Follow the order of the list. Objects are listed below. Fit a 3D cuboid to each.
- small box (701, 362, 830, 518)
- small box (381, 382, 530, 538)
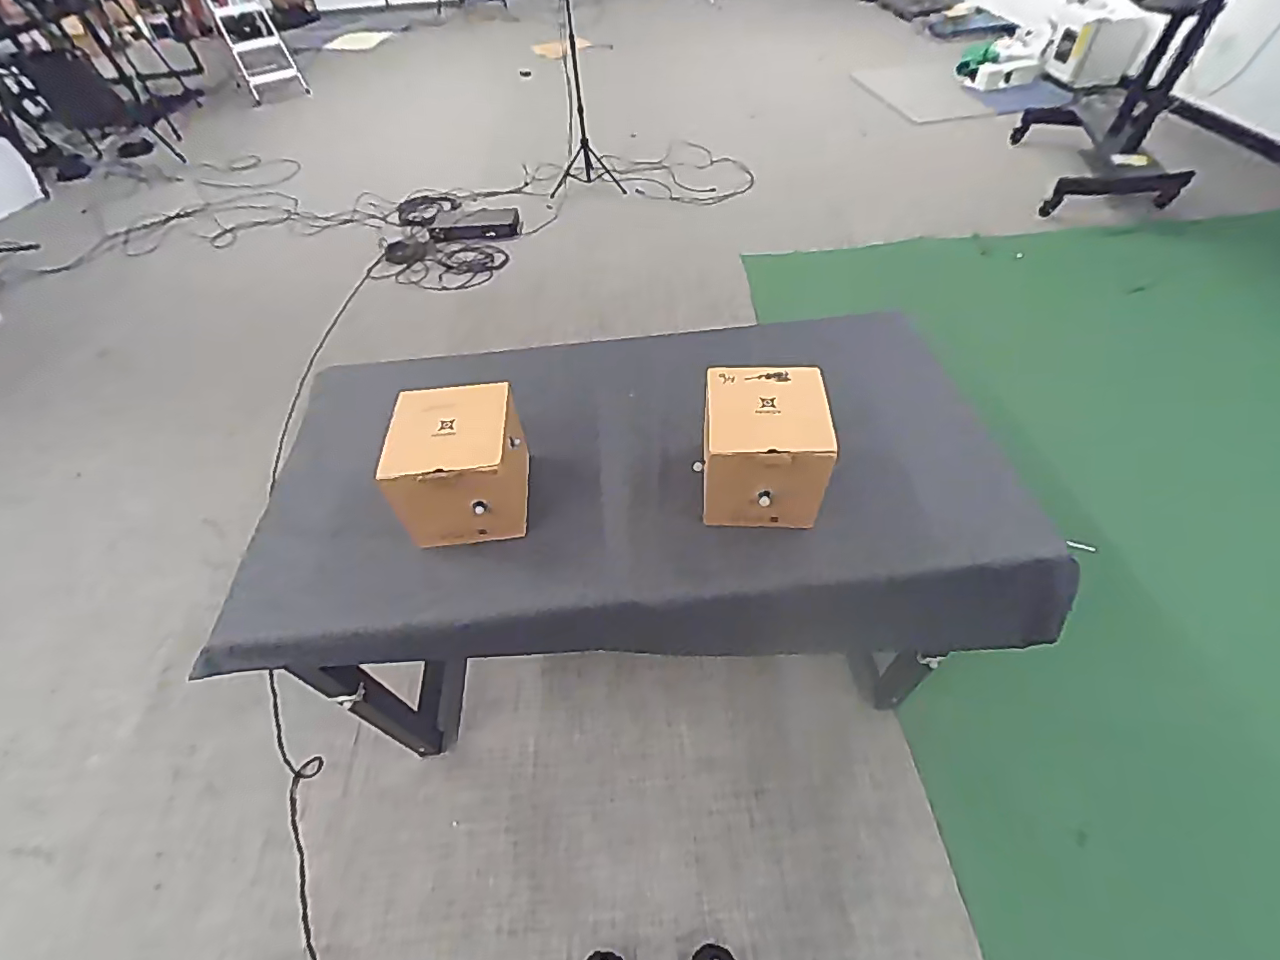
[{"bbox_3d":[0.179,-0.056,0.816,0.168,0.176,0.179,0,52,5],"label":"small box"},{"bbox_3d":[-0.269,-0.024,0.834,0.168,0.176,0.179,-6,49,-2],"label":"small box"}]
